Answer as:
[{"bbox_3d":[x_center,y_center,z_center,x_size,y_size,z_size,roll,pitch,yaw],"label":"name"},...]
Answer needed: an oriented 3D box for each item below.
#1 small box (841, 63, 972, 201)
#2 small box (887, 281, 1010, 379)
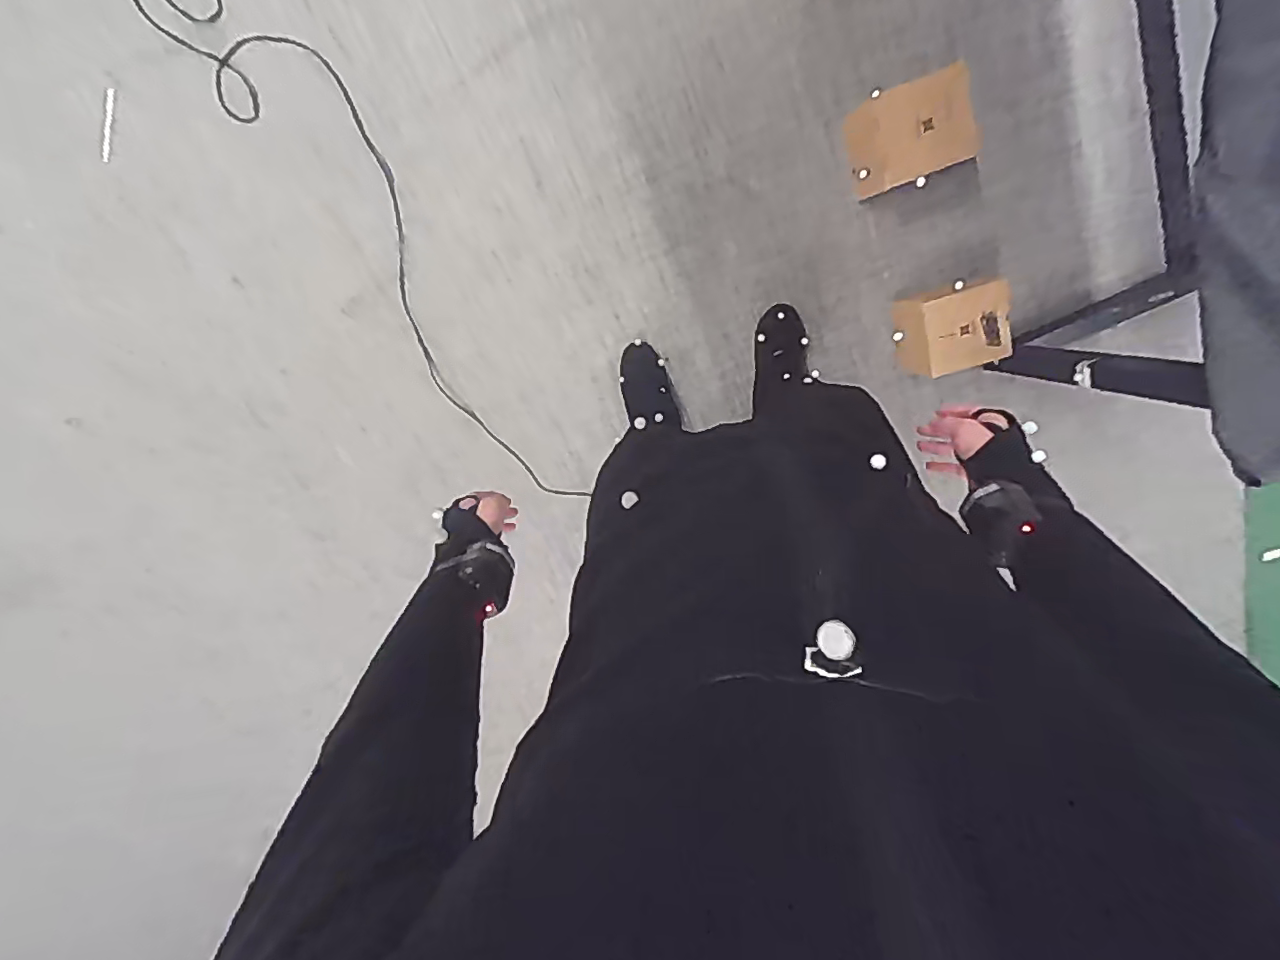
[{"bbox_3d":[0.529,-0.693,1.100,0.179,0.176,0.168,-21,109,4],"label":"small box"},{"bbox_3d":[0.687,-0.341,1.214,0.179,0.176,0.168,-16,108,5],"label":"small box"}]
